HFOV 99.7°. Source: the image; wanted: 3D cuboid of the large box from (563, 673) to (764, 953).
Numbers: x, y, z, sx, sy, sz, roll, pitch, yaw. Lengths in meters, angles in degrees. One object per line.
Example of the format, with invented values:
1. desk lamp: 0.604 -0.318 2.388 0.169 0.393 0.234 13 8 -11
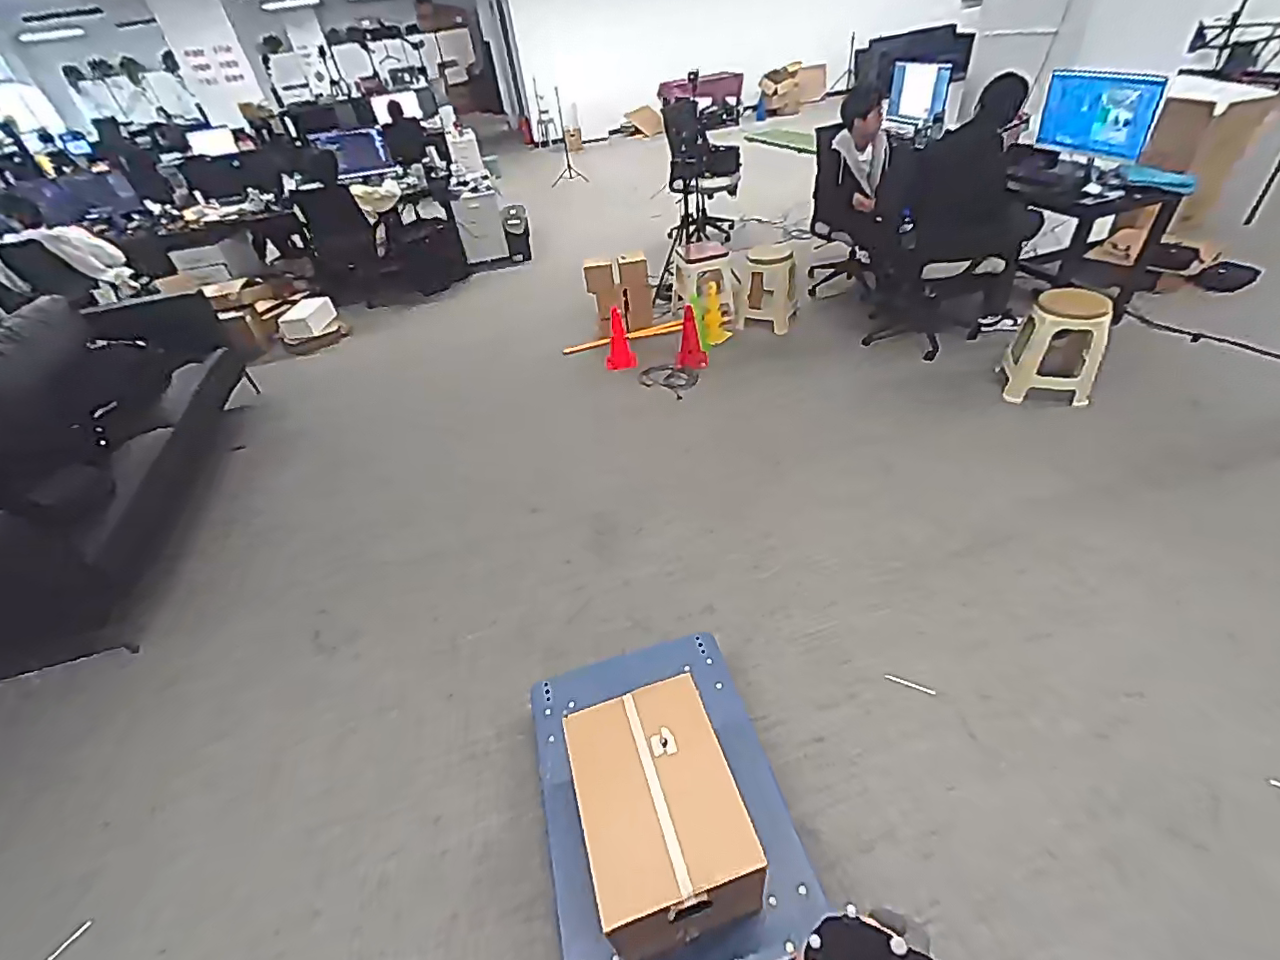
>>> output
1. large box: 0.048 0.728 1.209 0.320 0.320 0.408 -17 41 -8
